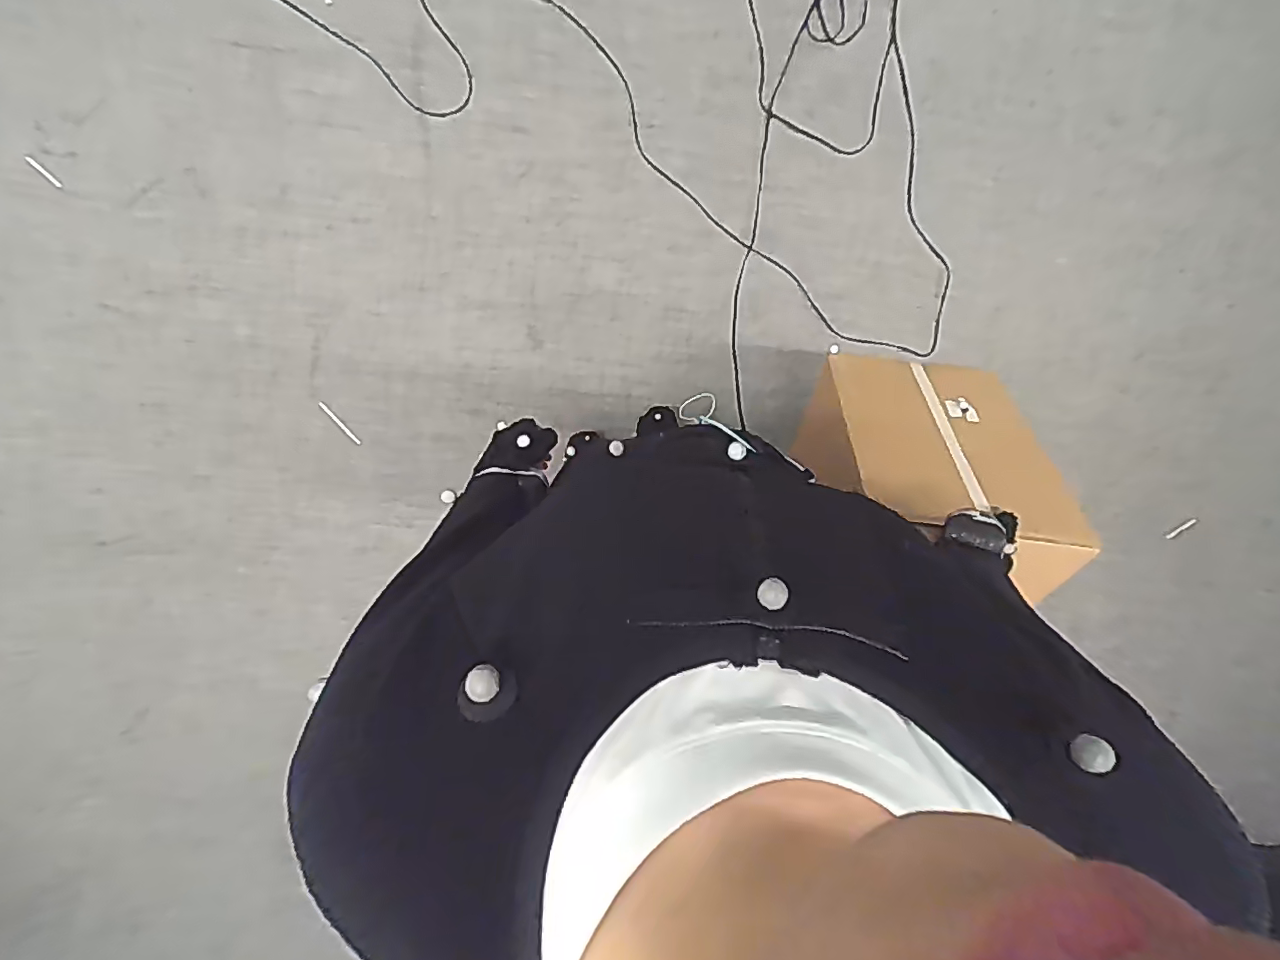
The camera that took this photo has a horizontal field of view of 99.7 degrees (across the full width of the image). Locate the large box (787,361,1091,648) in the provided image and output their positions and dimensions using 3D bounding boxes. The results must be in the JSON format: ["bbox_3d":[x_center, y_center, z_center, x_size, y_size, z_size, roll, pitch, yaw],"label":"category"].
[{"bbox_3d":[0.468,0.040,0.972,0.320,0.408,0.320,8,136,1],"label":"large box"}]
